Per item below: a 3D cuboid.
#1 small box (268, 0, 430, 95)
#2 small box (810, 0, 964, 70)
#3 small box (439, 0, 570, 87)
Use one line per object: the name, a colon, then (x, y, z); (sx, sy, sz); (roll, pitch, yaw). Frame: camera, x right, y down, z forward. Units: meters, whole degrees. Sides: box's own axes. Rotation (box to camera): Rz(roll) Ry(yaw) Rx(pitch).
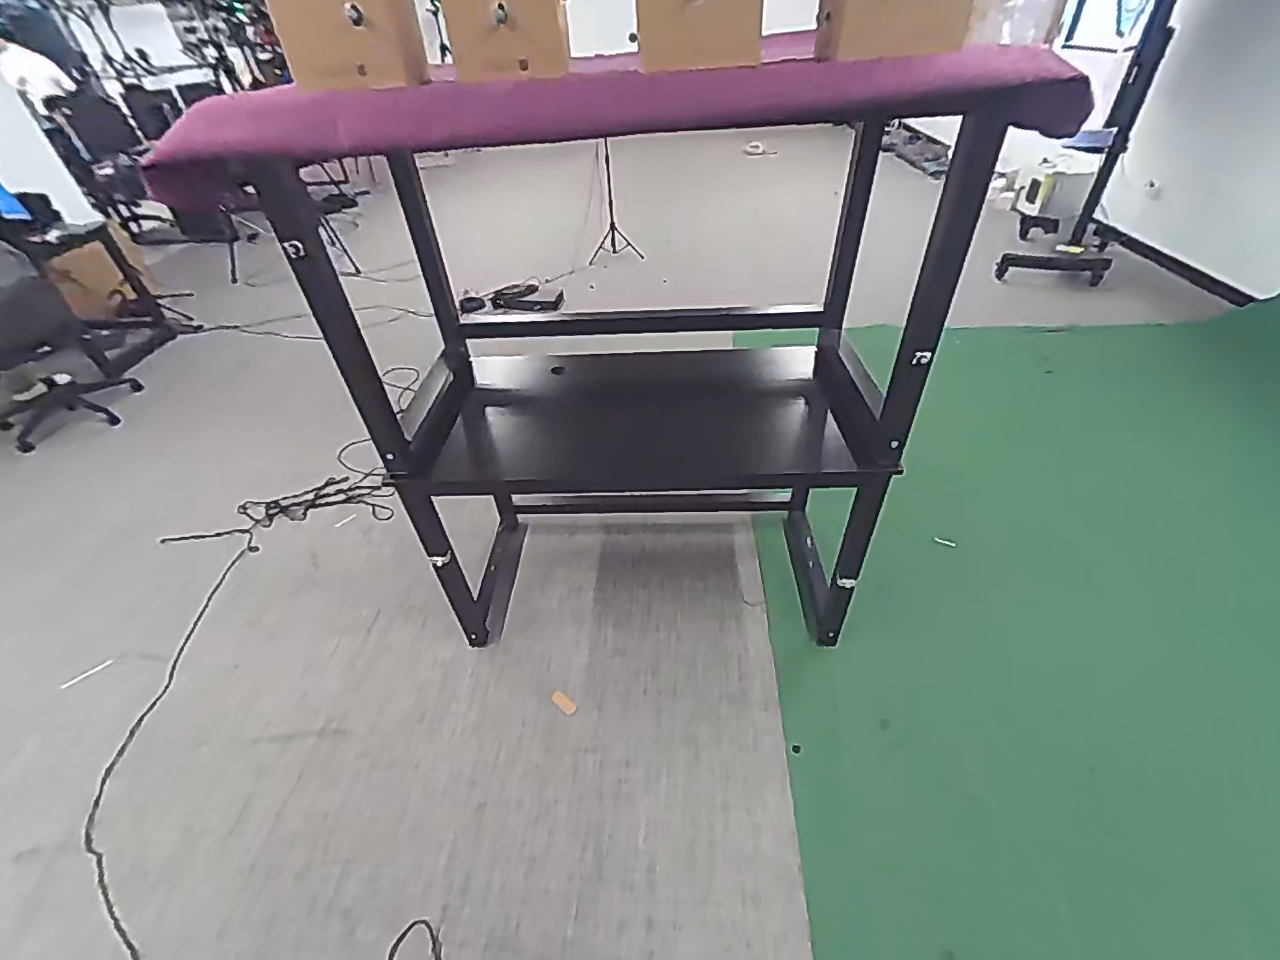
small box: (-0.443, -0.703, 0.836); (0.168, 0.176, 0.179); (-4, 39, -2)
small box: (0.357, -0.708, 0.777); (0.179, 0.176, 0.168); (-2, 40, 5)
small box: (-0.203, -0.715, 0.832); (0.168, 0.176, 0.179); (-3, 40, 0)
